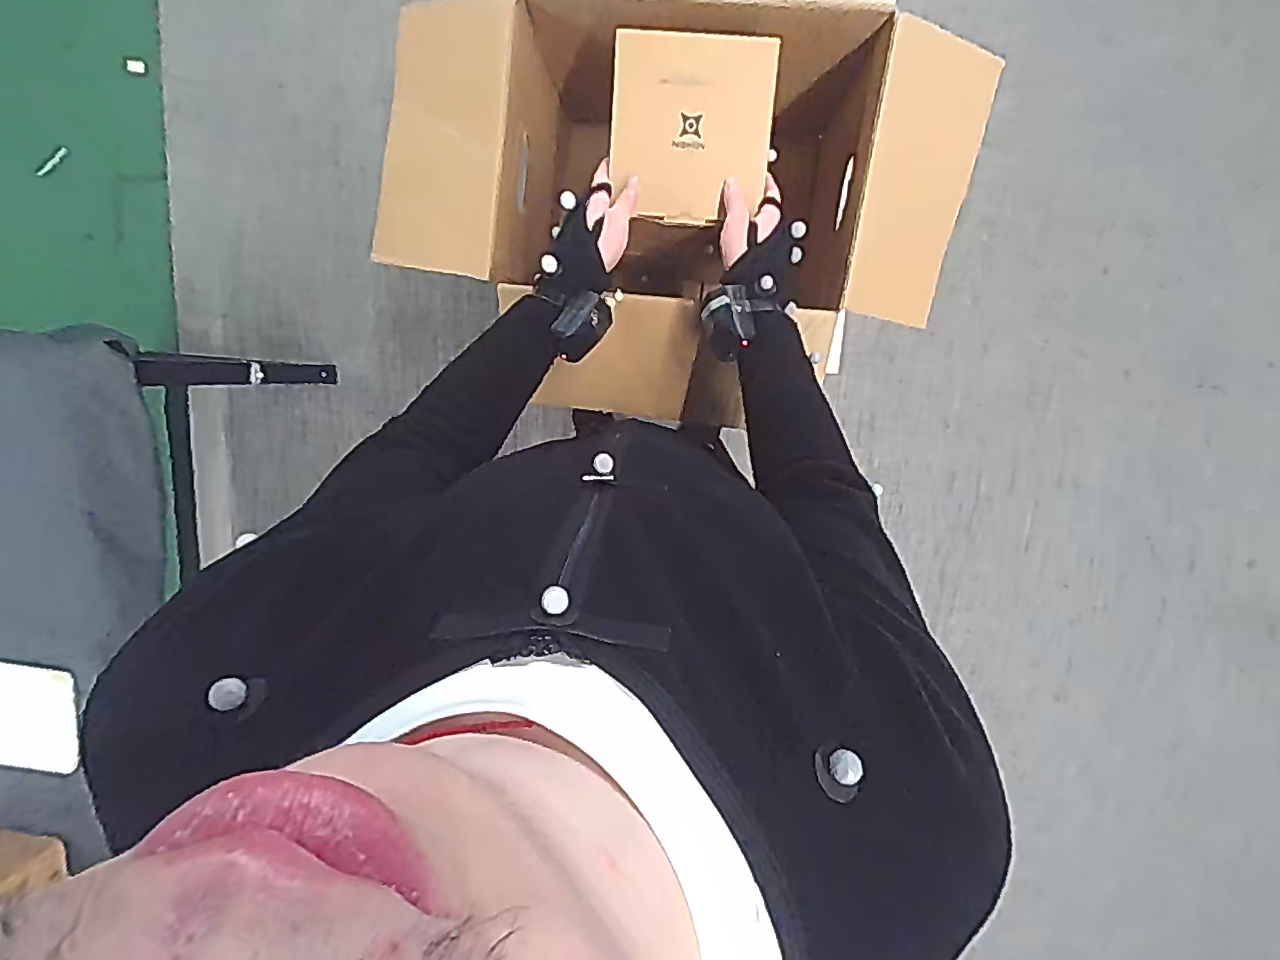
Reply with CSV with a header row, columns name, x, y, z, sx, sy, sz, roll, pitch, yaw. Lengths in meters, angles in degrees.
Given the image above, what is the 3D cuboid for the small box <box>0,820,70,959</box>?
name,x,y,z,sx,sy,sz,roll,pitch,yaw
small box,-1.193,0.753,0.977,0.179,0.176,0.168,6,101,3
